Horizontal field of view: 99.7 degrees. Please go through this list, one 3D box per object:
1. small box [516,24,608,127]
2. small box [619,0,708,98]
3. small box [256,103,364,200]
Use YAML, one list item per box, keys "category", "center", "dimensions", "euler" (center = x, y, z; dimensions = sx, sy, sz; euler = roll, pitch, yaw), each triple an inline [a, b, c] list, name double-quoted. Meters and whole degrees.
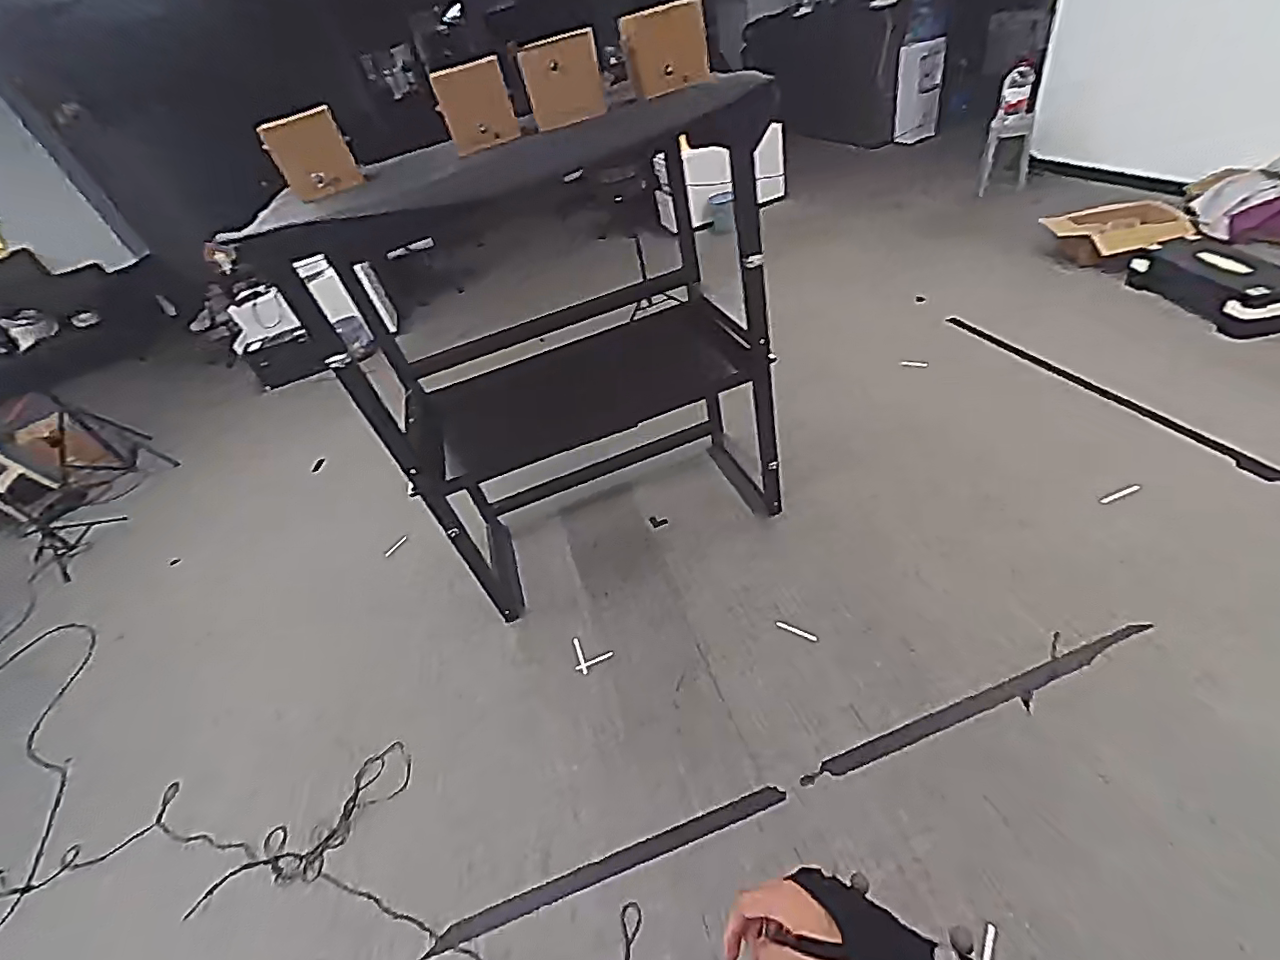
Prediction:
- category: "small box"
  center: [-0.186, -1.001, 1.341]
  dimensions: [0.179, 0.176, 0.168]
  euler: [-10, 41, 7]
- category: "small box"
  center: [0.058, -1.059, 1.323]
  dimensions: [0.168, 0.176, 0.179]
  euler: [-18, 41, -1]
- category: "small box"
  center: [-0.821, -0.824, 1.359]
  dimensions: [0.168, 0.176, 0.179]
  euler: [-28, 42, -12]
